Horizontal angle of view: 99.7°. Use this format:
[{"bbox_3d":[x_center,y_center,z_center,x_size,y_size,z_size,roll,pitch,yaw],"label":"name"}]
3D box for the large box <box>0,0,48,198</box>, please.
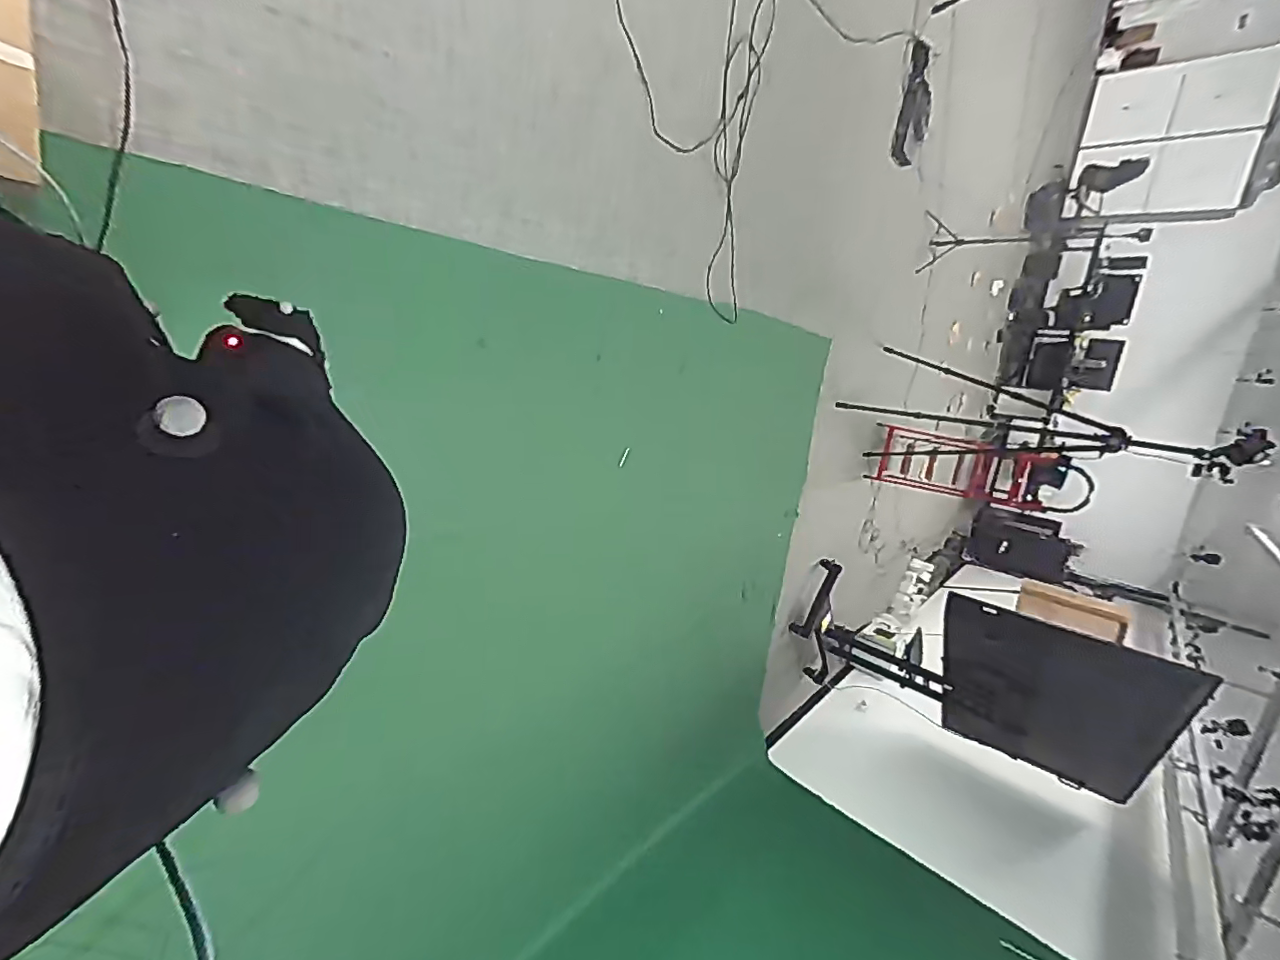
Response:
[{"bbox_3d":[-1.072,-0.596,0.689,0.408,0.320,0.320,-5,109,-49],"label":"large box"}]
